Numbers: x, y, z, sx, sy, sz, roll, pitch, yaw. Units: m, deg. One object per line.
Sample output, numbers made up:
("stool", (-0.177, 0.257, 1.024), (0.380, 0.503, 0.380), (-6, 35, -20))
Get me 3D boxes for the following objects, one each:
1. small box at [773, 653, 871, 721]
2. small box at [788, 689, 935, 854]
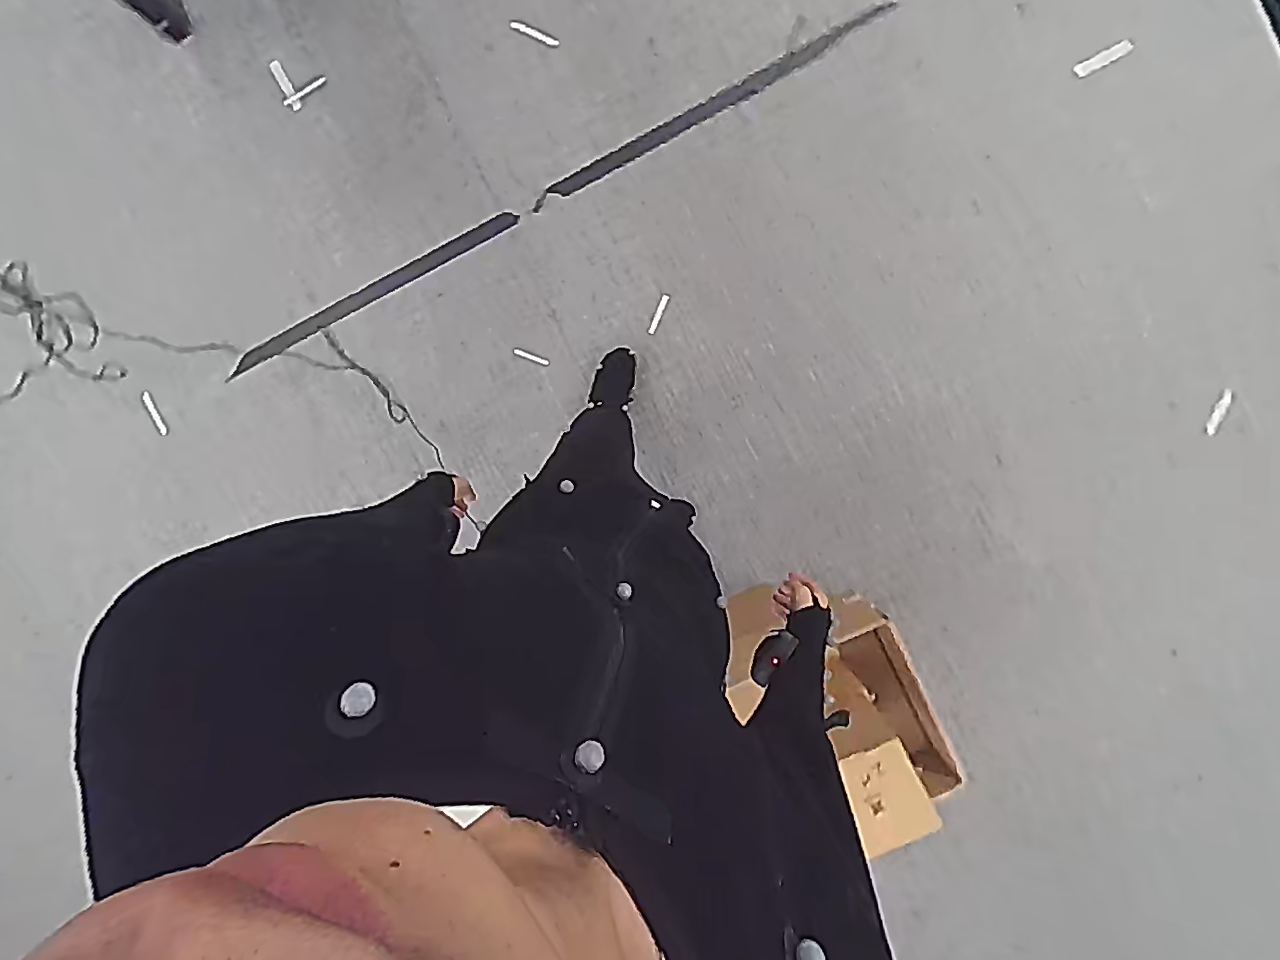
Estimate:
("small box", (0.406, 0.505, 1.159), (0.168, 0.176, 0.179), (-27, 93, 5))
("small box", (0.395, 0.525, 0.996), (0.168, 0.176, 0.179), (-27, 93, 5))
